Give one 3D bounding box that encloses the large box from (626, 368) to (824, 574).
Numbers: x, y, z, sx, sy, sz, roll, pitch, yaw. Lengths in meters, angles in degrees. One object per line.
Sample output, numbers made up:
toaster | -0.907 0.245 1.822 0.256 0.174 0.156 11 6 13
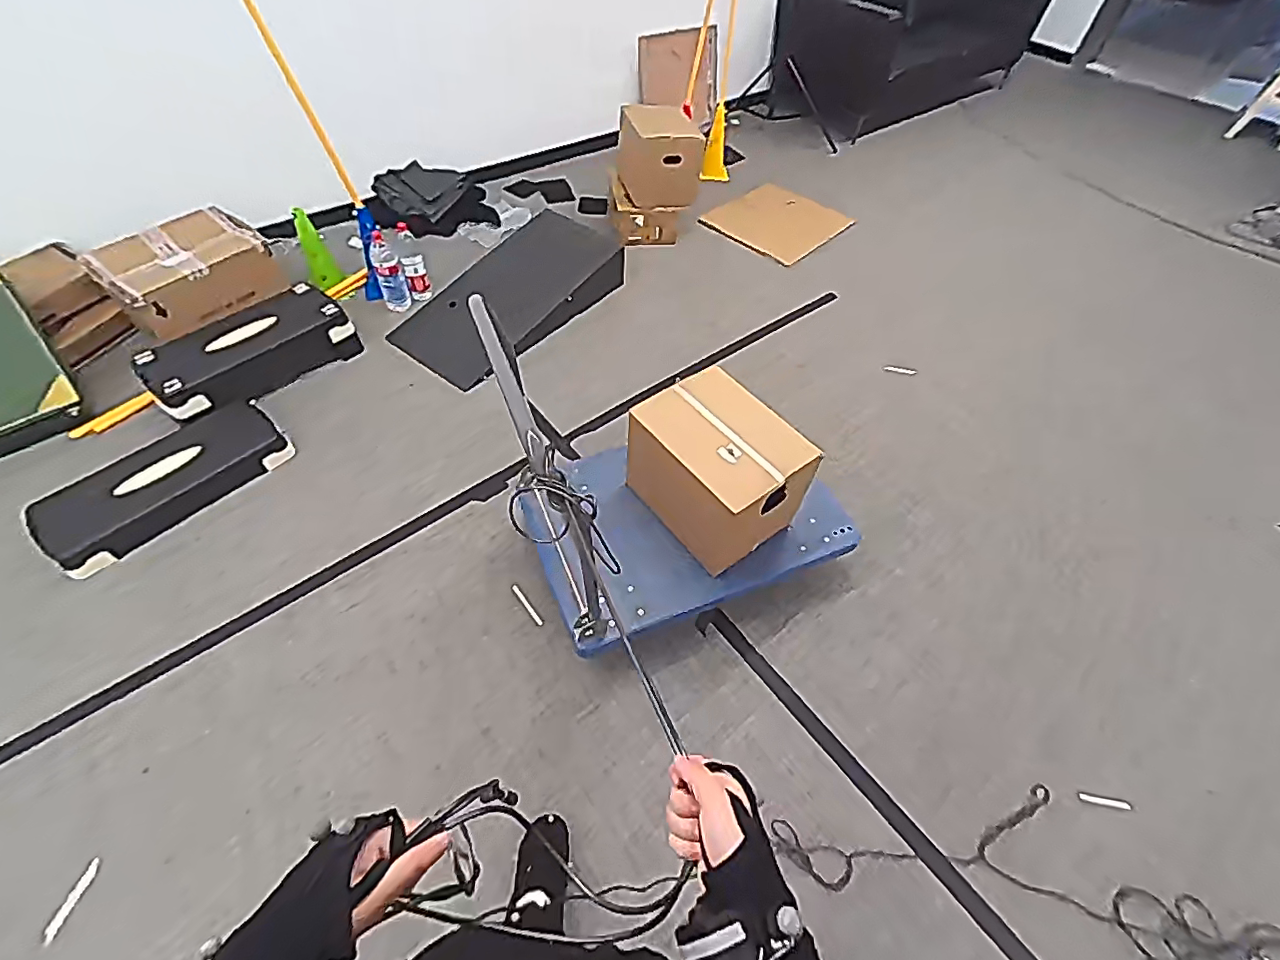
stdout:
large box | 0.204 -0.028 1.475 0.320 0.320 0.408 -31 61 -23
